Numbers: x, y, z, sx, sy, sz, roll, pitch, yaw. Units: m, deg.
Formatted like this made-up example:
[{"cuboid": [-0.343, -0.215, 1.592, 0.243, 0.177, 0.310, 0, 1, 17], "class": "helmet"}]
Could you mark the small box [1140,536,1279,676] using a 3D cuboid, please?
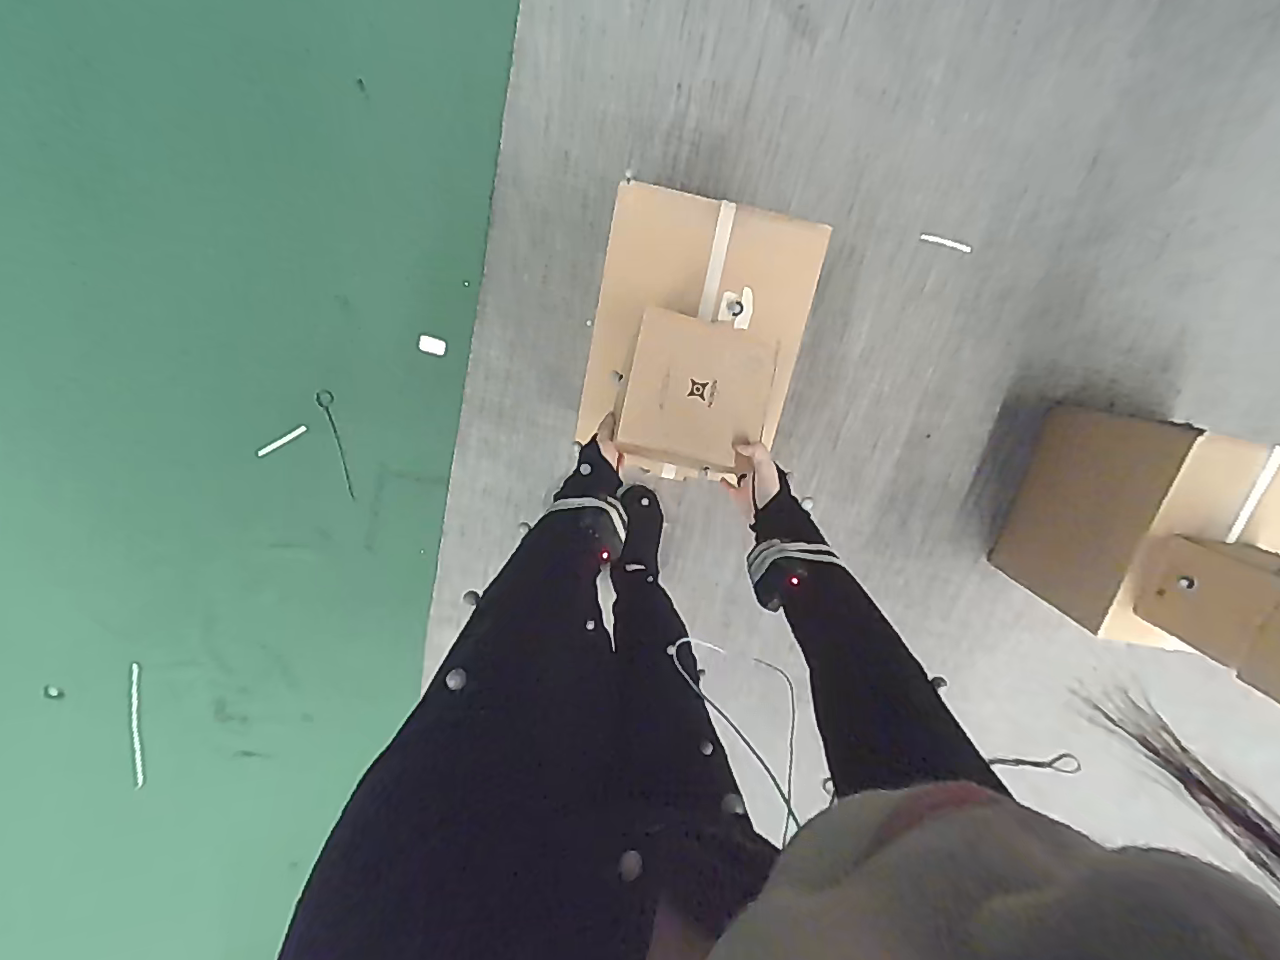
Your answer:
[{"cuboid": [1.020, 0.207, 0.906, 0.179, 0.176, 0.168, 9, 107, -5], "class": "small box"}]

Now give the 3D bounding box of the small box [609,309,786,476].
[{"cuboid": [0.065, -0.106, 0.721, 0.179, 0.176, 0.168, 13, 89, -8], "class": "small box"}]

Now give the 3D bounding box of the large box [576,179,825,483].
[{"cuboid": [0.076, -0.246, 0.955, 0.320, 0.320, 0.408, 10, 106, -7], "class": "large box"}]
